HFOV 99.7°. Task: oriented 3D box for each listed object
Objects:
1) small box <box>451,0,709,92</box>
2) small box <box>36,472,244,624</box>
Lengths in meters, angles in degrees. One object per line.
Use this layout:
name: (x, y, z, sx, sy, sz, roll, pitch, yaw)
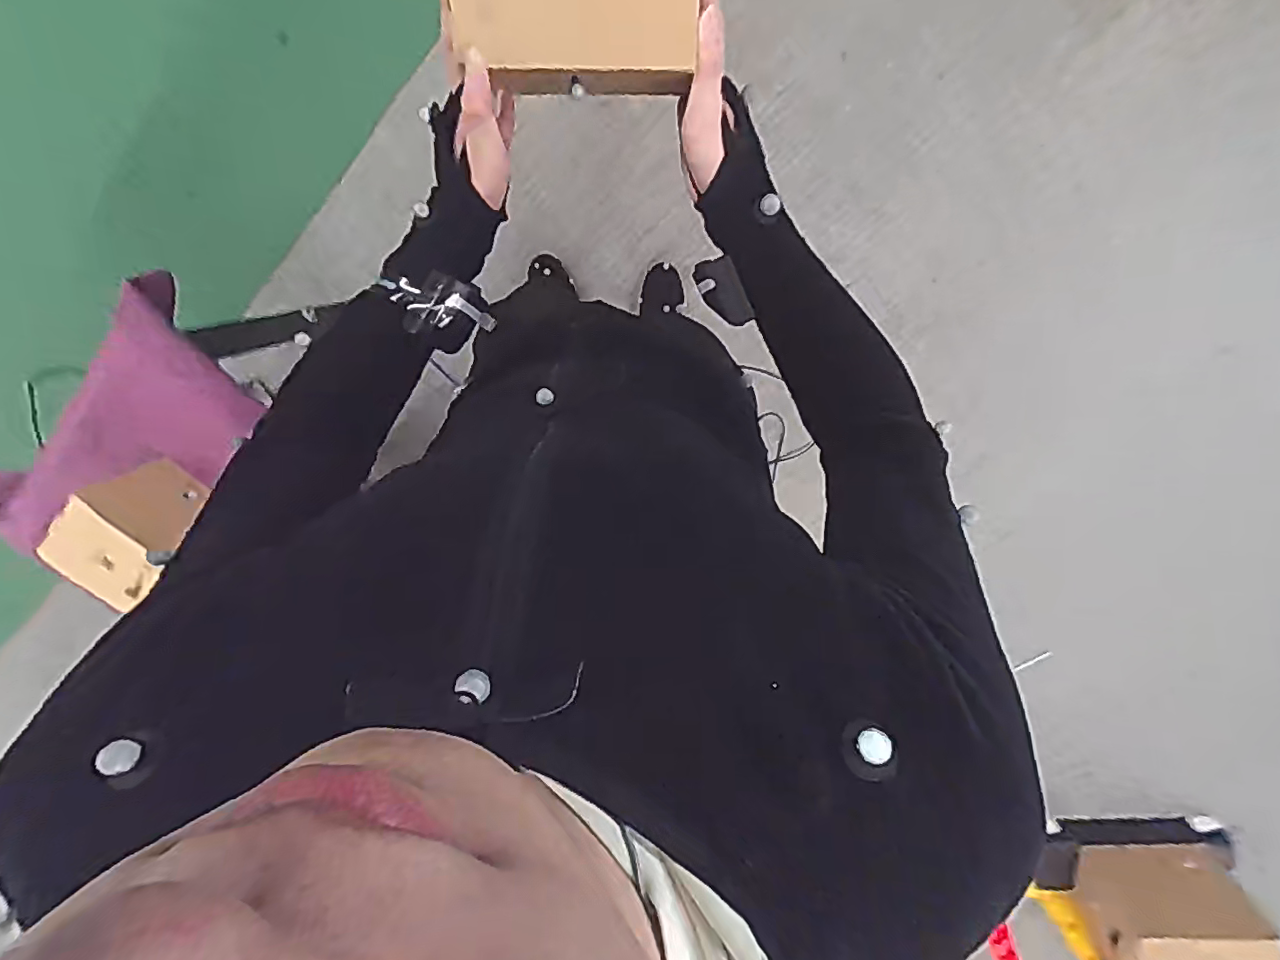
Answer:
small box: (-0.036, -0.402, 0.406, 0.179, 0.176, 0.168, 2, 121, 0)
small box: (-0.861, 0.107, 0.946, 0.168, 0.176, 0.179, -40, 105, 20)
